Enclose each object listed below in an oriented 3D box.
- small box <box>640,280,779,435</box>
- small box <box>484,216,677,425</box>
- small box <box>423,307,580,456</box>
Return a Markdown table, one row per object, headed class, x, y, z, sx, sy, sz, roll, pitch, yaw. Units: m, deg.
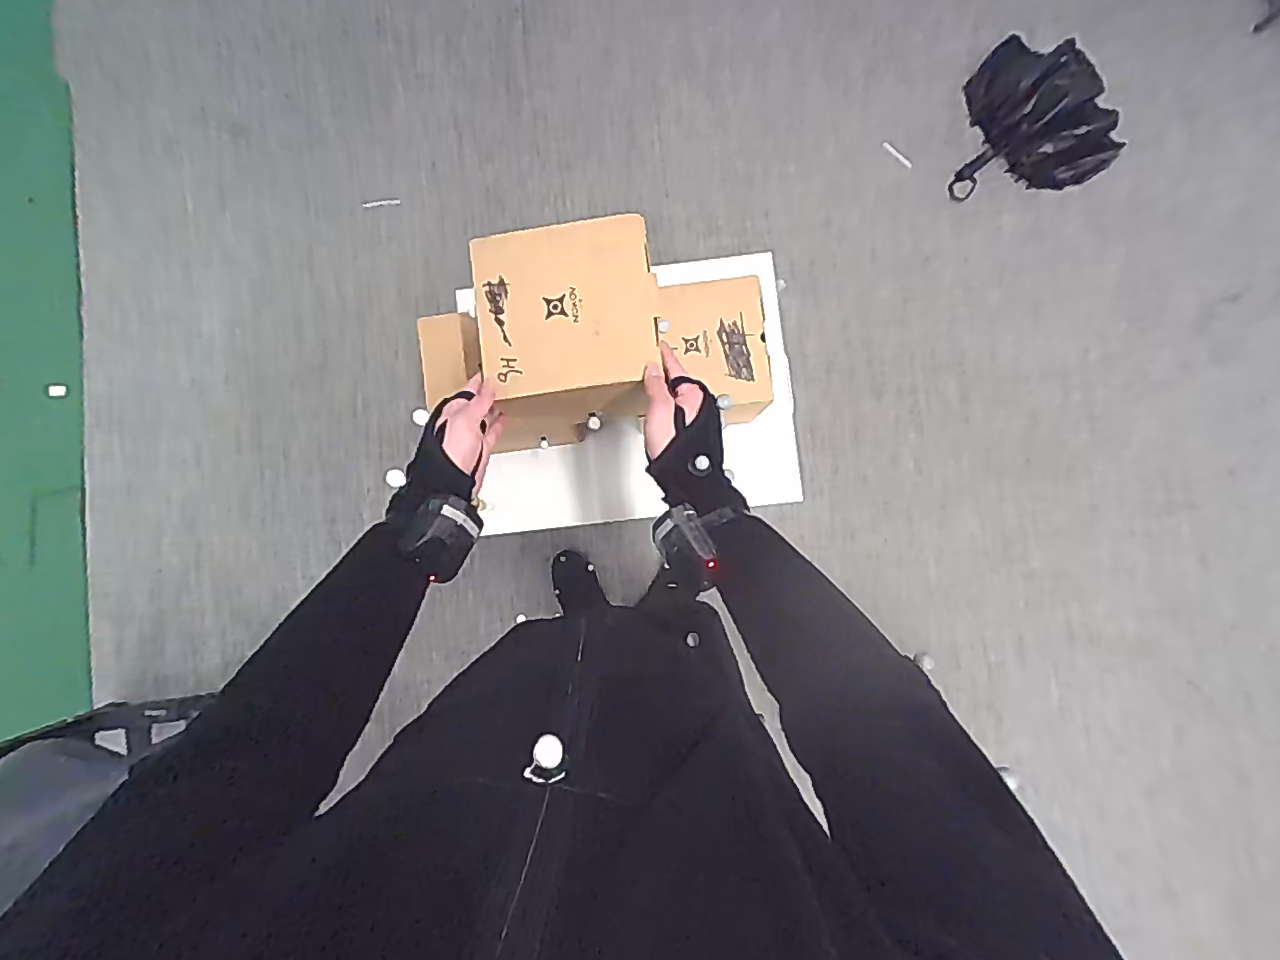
| class | x | y | z | sx | sy | sz | roll | pitch | yaw |
| --- | --- | --- | --- | --- | --- | --- | --- | --- | --- |
| small box | 0.083 | -0.161 | 0.759 | 0.179 | 0.176 | 0.168 | -5 | 85 | 1 |
| small box | -0.058 | -0.162 | 0.597 | 0.179 | 0.176 | 0.168 | -6 | 85 | 1 |
| small box | -0.181 | -0.133 | 0.760 | 0.179 | 0.176 | 0.168 | -7 | 84 | 0 |
